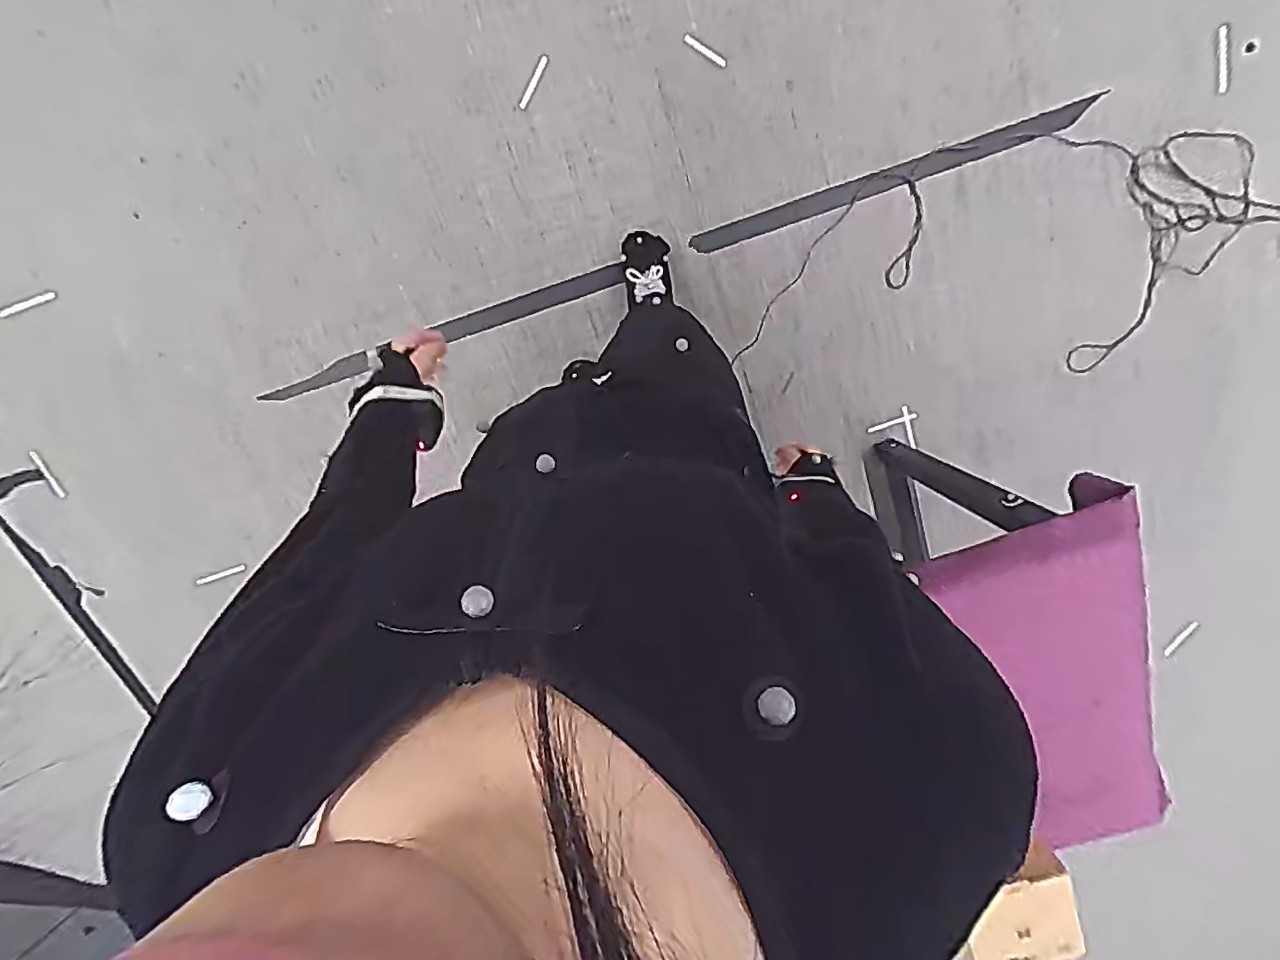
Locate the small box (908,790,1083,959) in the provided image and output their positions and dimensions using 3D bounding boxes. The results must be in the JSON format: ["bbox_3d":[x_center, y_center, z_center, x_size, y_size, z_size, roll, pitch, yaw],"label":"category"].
[{"bbox_3d":[0.568,0.645,0.886,0.168,0.176,0.179,-19,104,4],"label":"small box"}]
